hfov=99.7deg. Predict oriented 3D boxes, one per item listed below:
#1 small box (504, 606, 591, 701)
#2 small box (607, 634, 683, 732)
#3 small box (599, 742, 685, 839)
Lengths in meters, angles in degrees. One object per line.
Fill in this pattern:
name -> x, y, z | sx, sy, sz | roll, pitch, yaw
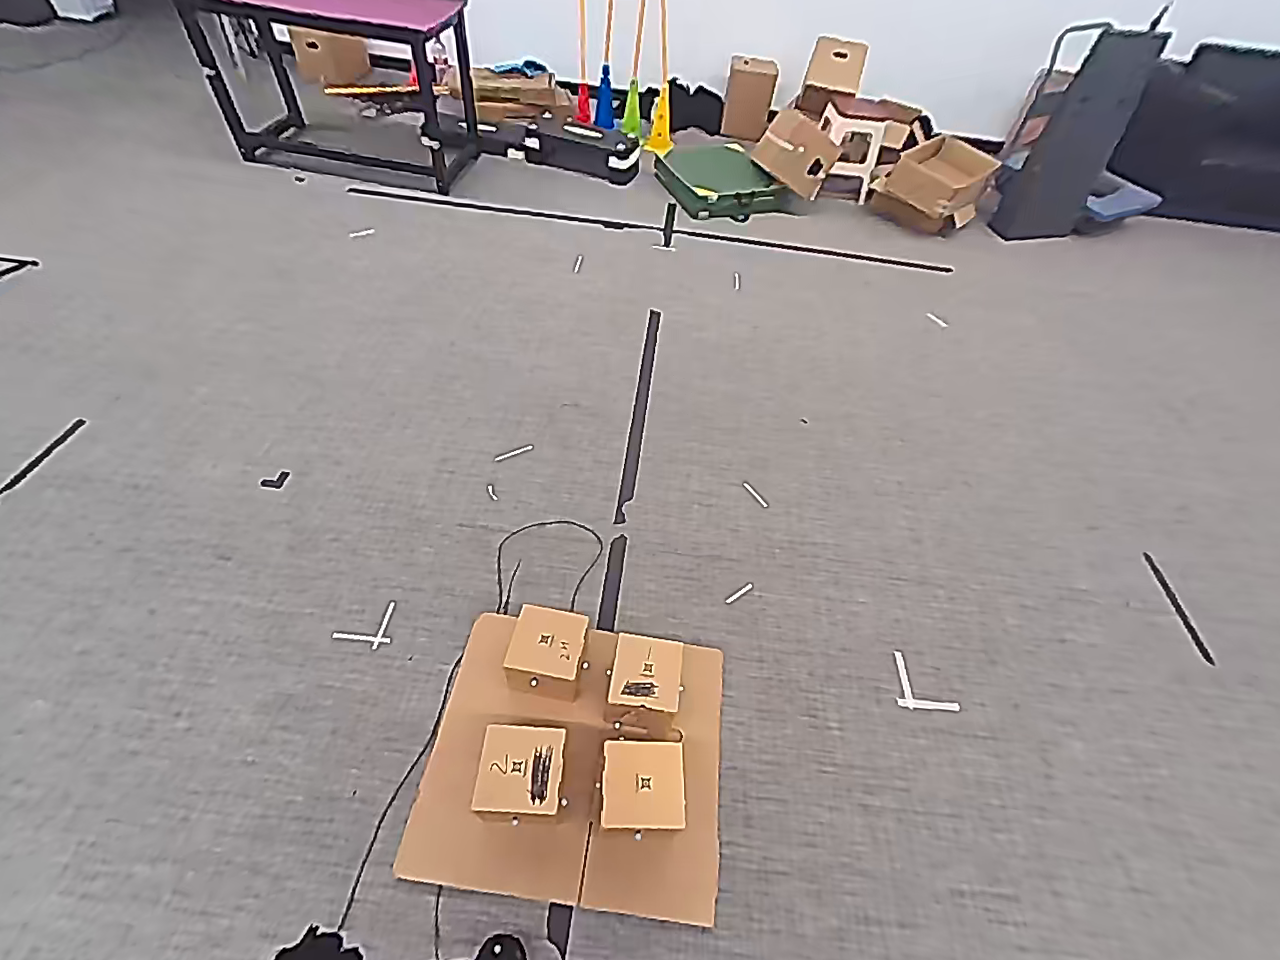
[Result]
small box -> -0.231, 0.447, 1.384 | 0.179, 0.176, 0.168 | 12, 51, 2
small box -> 0.011, 0.515, 1.364 | 0.168, 0.176, 0.179 | 9, 50, 1
small box -> 0.001, 0.699, 1.215 | 0.179, 0.176, 0.168 | 3, 51, -3
